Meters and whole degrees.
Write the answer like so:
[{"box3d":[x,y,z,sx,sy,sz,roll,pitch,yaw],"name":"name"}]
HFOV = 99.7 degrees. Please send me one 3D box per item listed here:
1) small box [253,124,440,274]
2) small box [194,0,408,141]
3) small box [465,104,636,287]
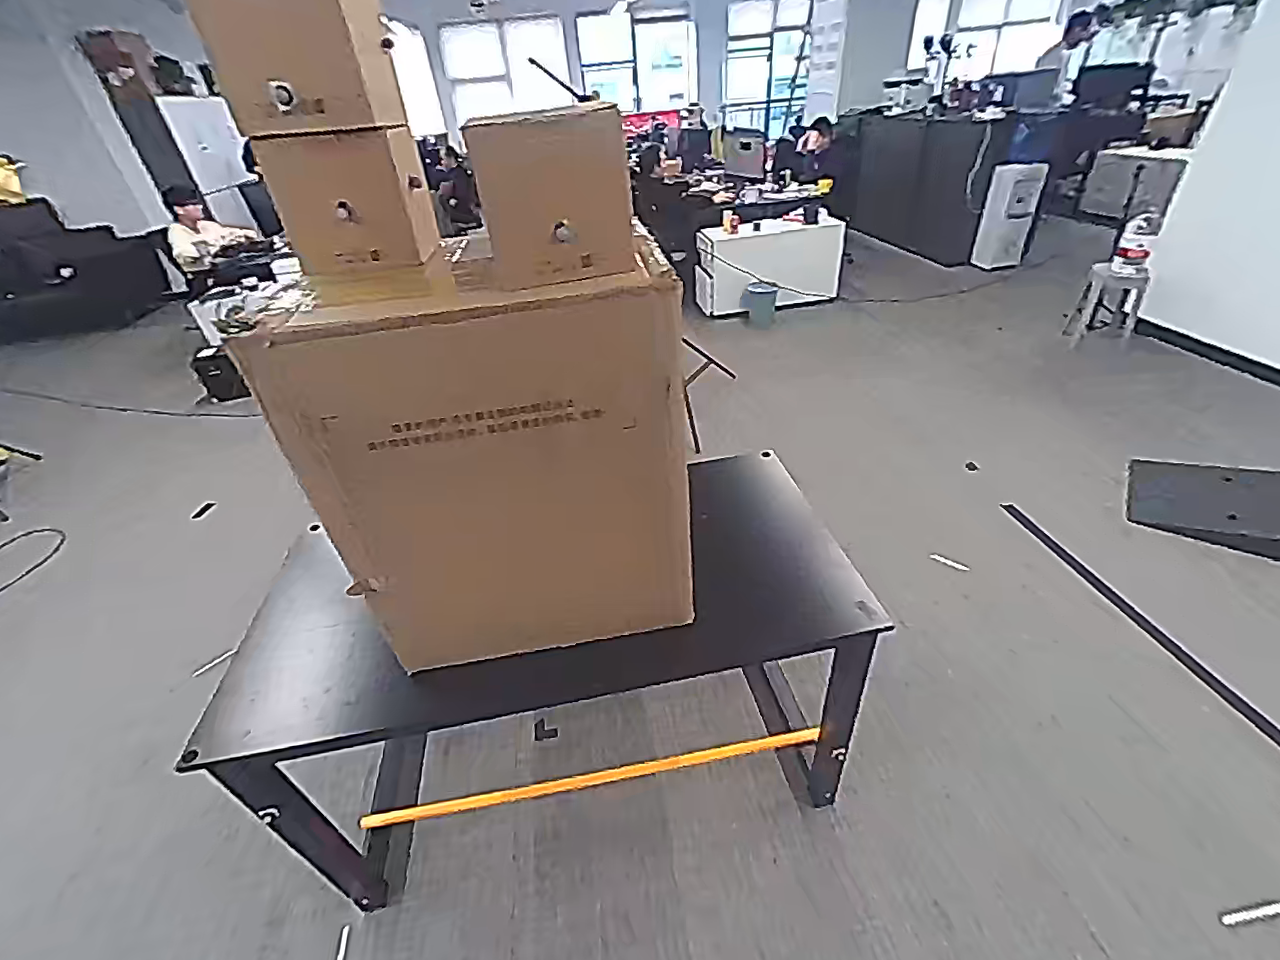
[{"box3d":[-0.402,-0.404,0.782,0.168,0.176,0.179,-8,36,-5],"name":"small box"},{"box3d":[-0.409,-0.528,0.675,0.168,0.176,0.179,-8,36,-3],"name":"small box"},{"box3d":[-0.105,-0.352,0.666,0.168,0.176,0.179,-12,38,-5],"name":"small box"}]
